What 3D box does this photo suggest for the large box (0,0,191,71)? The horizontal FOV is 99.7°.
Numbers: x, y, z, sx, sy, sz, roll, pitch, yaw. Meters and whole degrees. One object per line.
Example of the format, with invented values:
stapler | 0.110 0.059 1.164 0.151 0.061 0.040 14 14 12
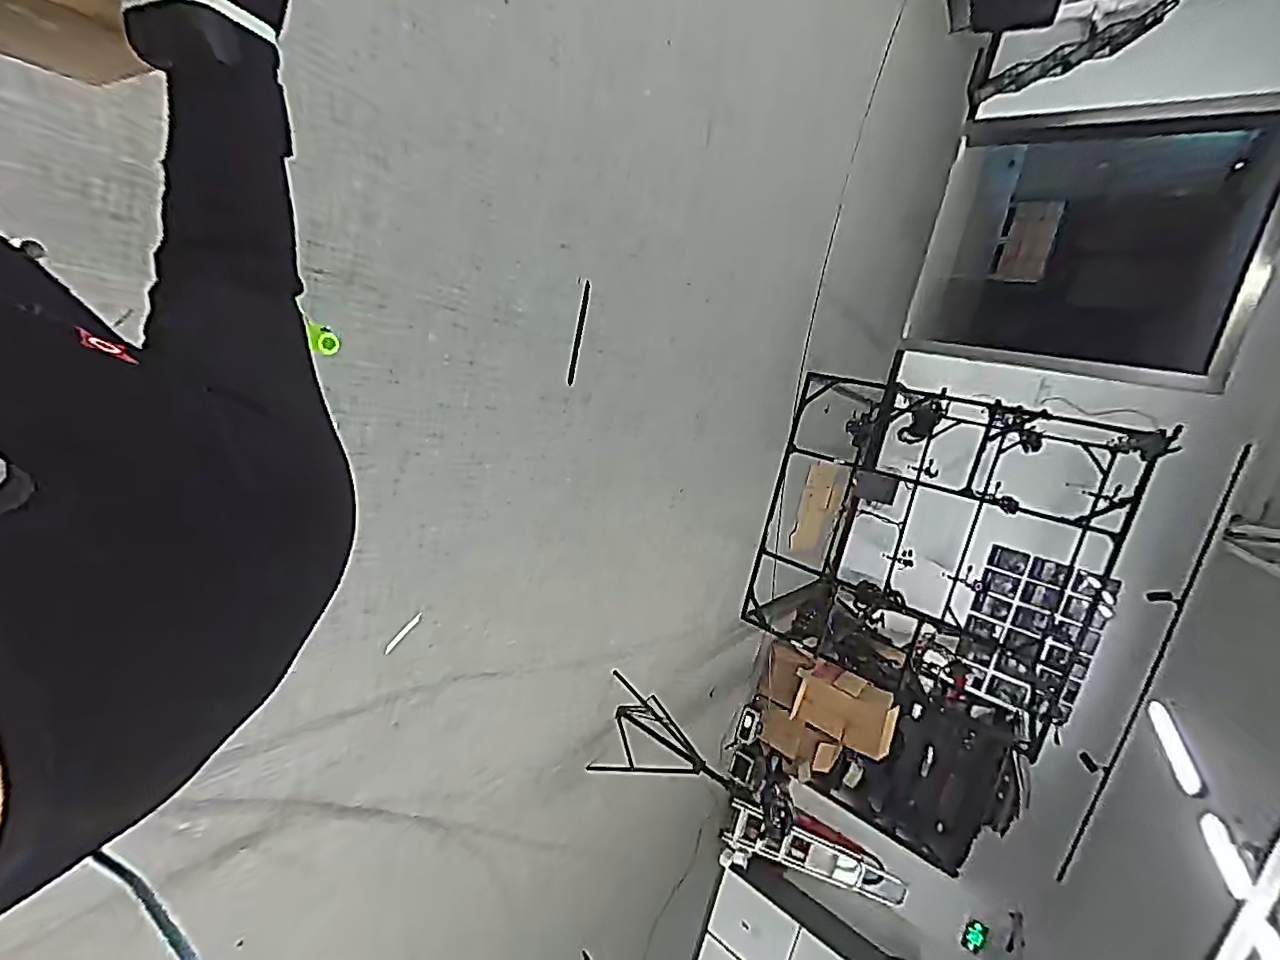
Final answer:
large box | -0.522 -0.479 0.263 0.408 0.320 0.320 -9 117 -53
